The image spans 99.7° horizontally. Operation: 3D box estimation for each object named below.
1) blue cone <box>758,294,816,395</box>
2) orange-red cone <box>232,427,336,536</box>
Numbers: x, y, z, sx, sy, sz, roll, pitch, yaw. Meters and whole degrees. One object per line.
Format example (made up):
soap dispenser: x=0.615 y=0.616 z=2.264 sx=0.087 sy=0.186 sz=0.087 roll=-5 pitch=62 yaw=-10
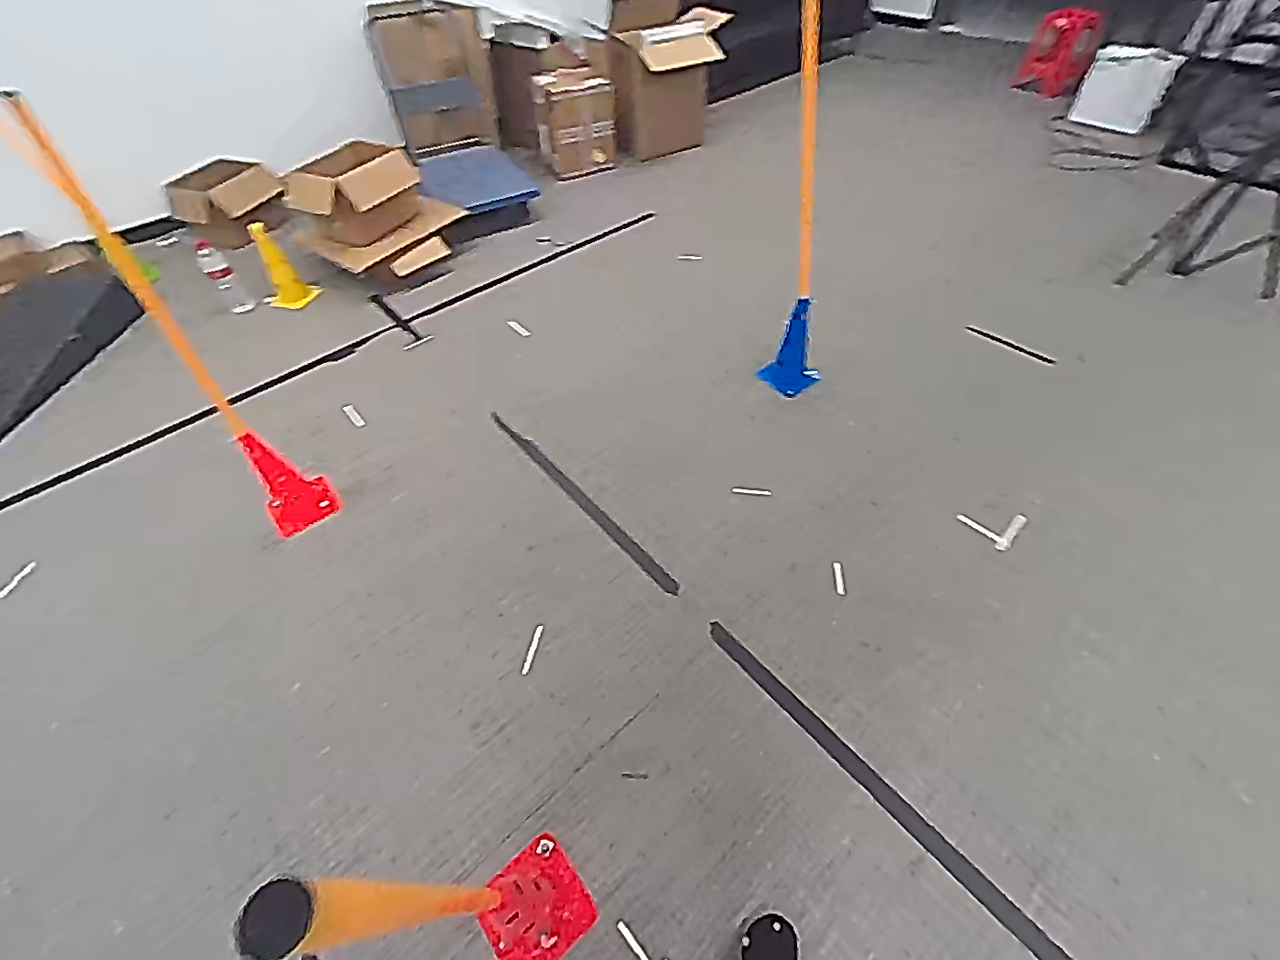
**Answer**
blue cone: x=0.588 y=-0.533 z=2.057 sx=0.193 sy=0.380 sz=0.192 roll=-32 pitch=56 yaw=-22
orange-red cone: x=-1.150 y=-0.026 z=1.688 sx=0.198 sy=0.360 sz=0.199 roll=-32 pitch=55 yaw=-22
